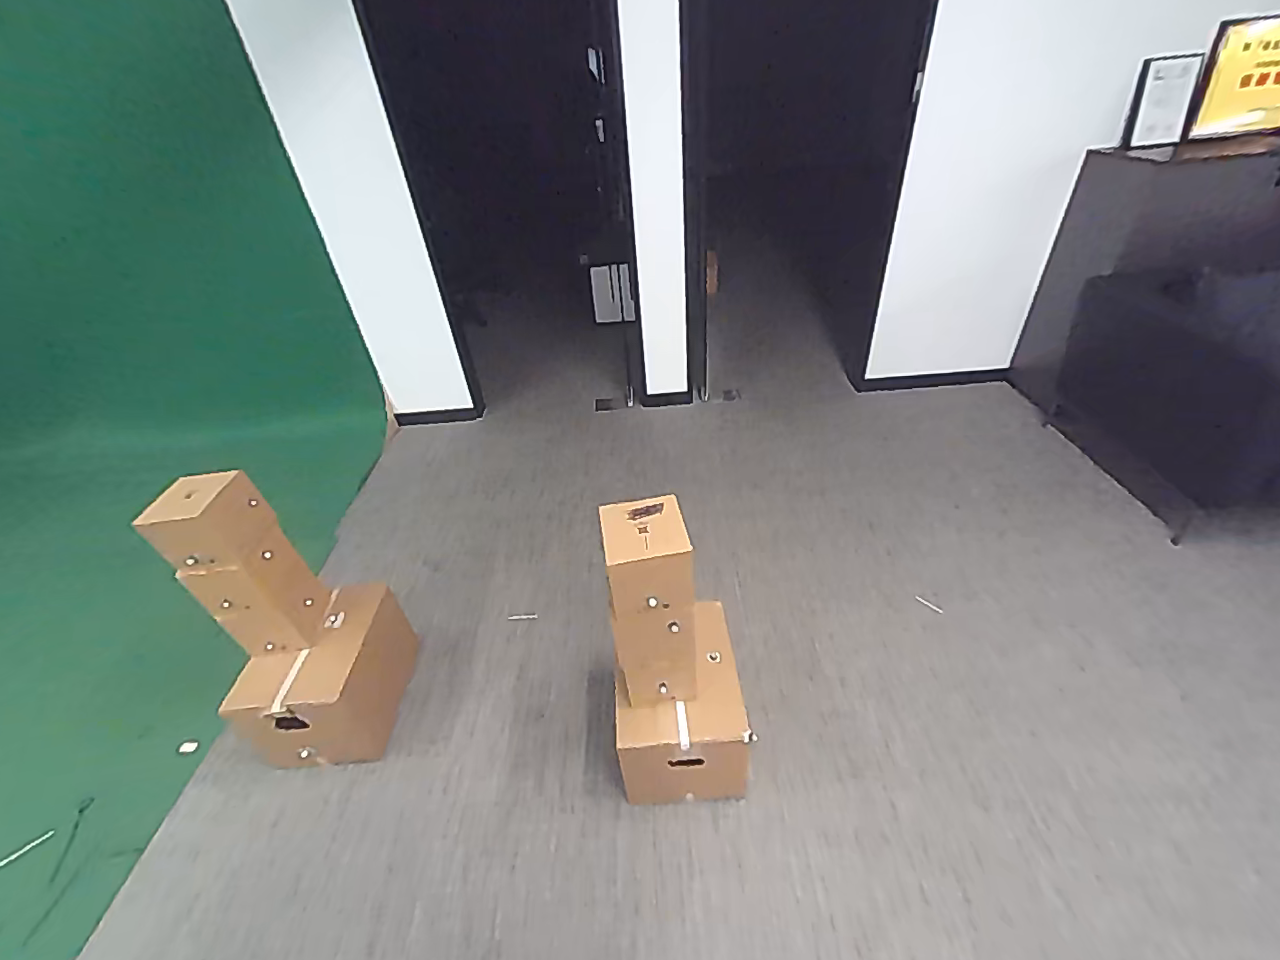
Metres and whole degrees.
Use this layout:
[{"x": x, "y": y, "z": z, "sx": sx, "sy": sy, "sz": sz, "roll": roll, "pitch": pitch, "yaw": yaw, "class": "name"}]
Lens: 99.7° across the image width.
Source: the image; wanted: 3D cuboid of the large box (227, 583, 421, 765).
[{"x": -0.910, "y": 0.577, "z": 1.632, "sx": 0.320, "sy": 0.320, "sz": 0.408, "roll": -5, "pitch": 37, "yaw": 1, "class": "large box"}]

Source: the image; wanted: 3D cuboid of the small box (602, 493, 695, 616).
[{"x": 0.017, "y": 0.154, "z": 1.125, "sx": 0.168, "sy": 0.176, "sz": 0.179, "roll": -10, "pitch": 38, "yaw": -3, "class": "small box"}]

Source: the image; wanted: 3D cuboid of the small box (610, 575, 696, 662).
[{"x": 0.030, "y": 0.287, "z": 1.220, "sx": 0.179, "sy": 0.176, "sz": 0.168, "roll": -8, "pitch": 37, "yaw": -1, "class": "small box"}]

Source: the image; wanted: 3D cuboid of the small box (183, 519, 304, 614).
[{"x": -1.032, "y": 0.229, "z": 1.431, "sx": 0.168, "sy": 0.176, "sz": 0.179, "roll": -8, "pitch": 38, "yaw": 3, "class": "small box"}]

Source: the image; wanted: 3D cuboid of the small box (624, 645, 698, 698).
[{"x": 0.047, "y": 0.415, "z": 1.324, "sx": 0.168, "sy": 0.176, "sz": 0.179, "roll": -8, "pitch": 38, "yaw": -1, "class": "small box"}]

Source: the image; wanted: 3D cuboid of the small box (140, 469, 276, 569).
[{"x": -1.049, "y": 0.096, "z": 1.337, "sx": 0.168, "sy": 0.176, "sz": 0.179, "roll": -7, "pitch": 39, "yaw": 5, "class": "small box"}]
